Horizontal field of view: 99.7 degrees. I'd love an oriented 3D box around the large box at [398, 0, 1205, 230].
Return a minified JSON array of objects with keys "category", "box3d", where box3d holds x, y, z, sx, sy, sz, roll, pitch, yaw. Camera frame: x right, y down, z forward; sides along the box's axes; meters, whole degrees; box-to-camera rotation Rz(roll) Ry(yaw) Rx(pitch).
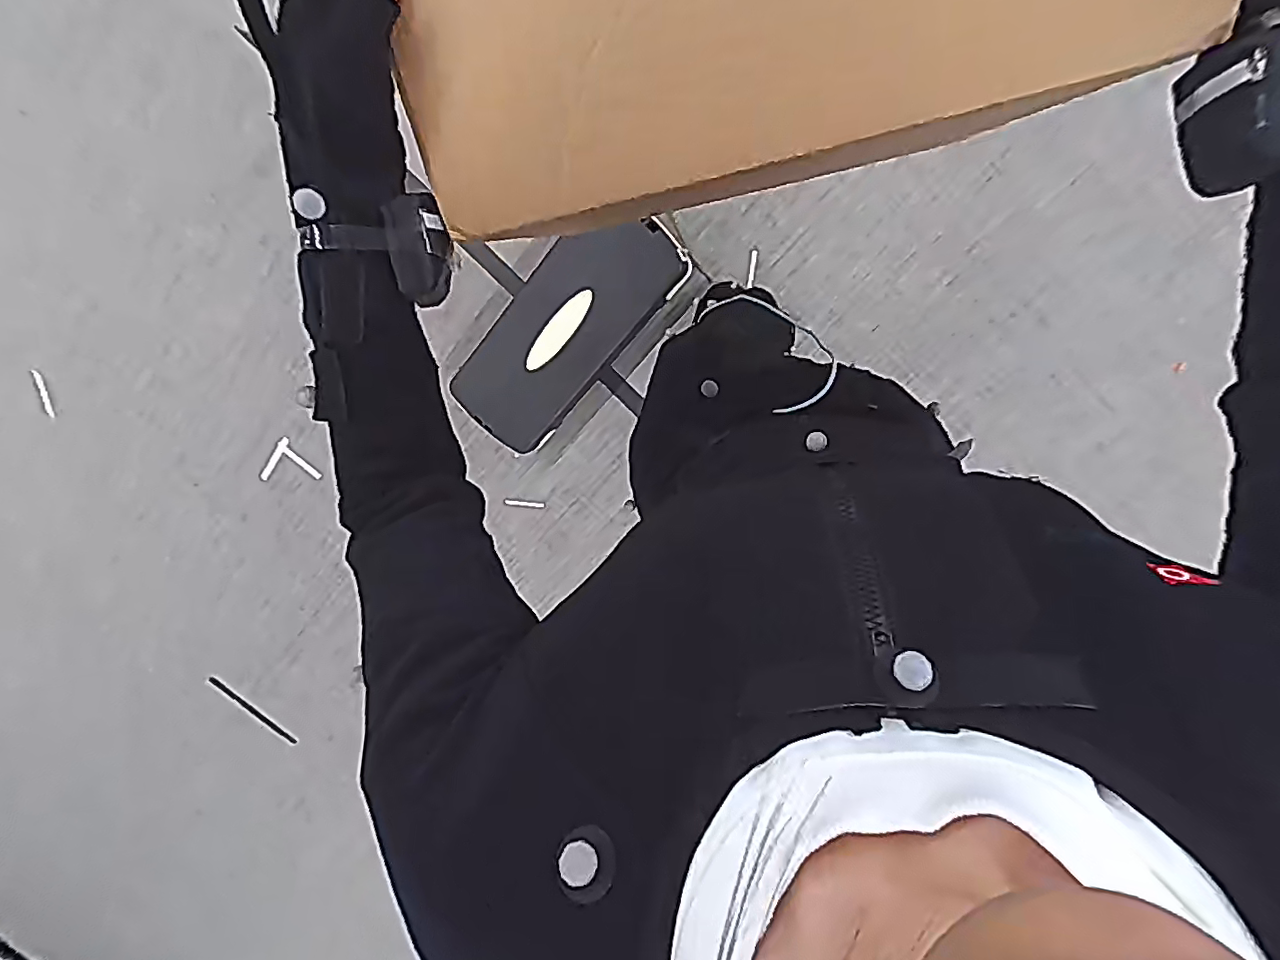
[{"category":"large box","box3d":[0.067,-0.389,0.381,0.408,0.320,0.320,-8,114,13]}]
